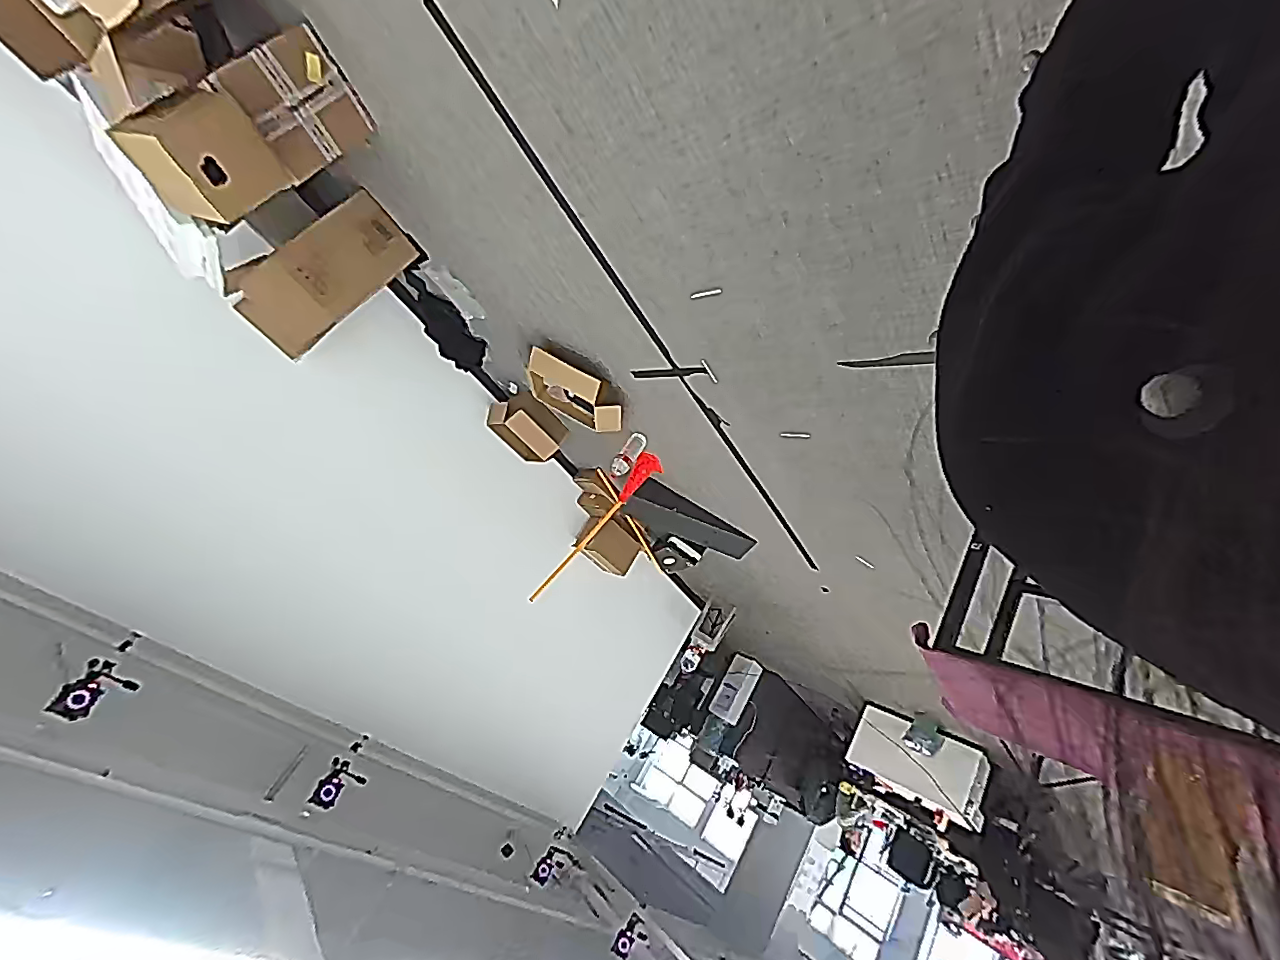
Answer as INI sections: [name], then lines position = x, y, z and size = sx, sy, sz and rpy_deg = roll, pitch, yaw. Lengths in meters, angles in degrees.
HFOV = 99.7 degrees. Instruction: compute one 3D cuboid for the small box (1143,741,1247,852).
[small box]
position = 1.420, 0.806, 1.386
size = 0.168, 0.176, 0.179
rpy_deg = 9, 149, 46
